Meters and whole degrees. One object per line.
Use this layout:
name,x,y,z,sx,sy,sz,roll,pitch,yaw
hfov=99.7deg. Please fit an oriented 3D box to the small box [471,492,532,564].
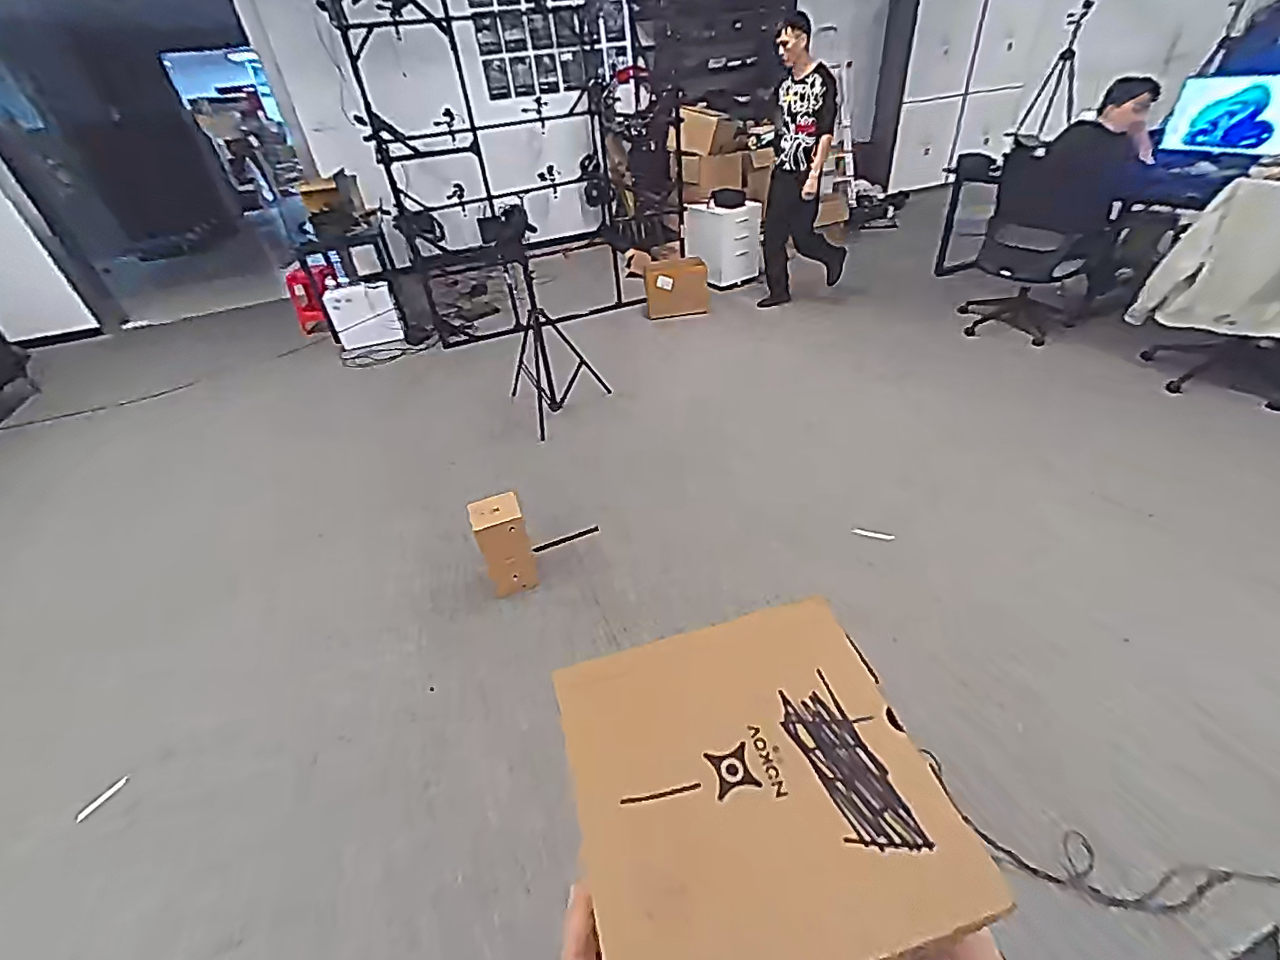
small box,-0.499,0.176,1.966,0.179,0.176,0.168,-18,37,-14

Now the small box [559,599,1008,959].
small box,0.059,0.204,0.326,0.179,0.176,0.168,-13,43,-9

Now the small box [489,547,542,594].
small box,-0.484,0.311,2.062,0.168,0.176,0.179,-17,39,-13
